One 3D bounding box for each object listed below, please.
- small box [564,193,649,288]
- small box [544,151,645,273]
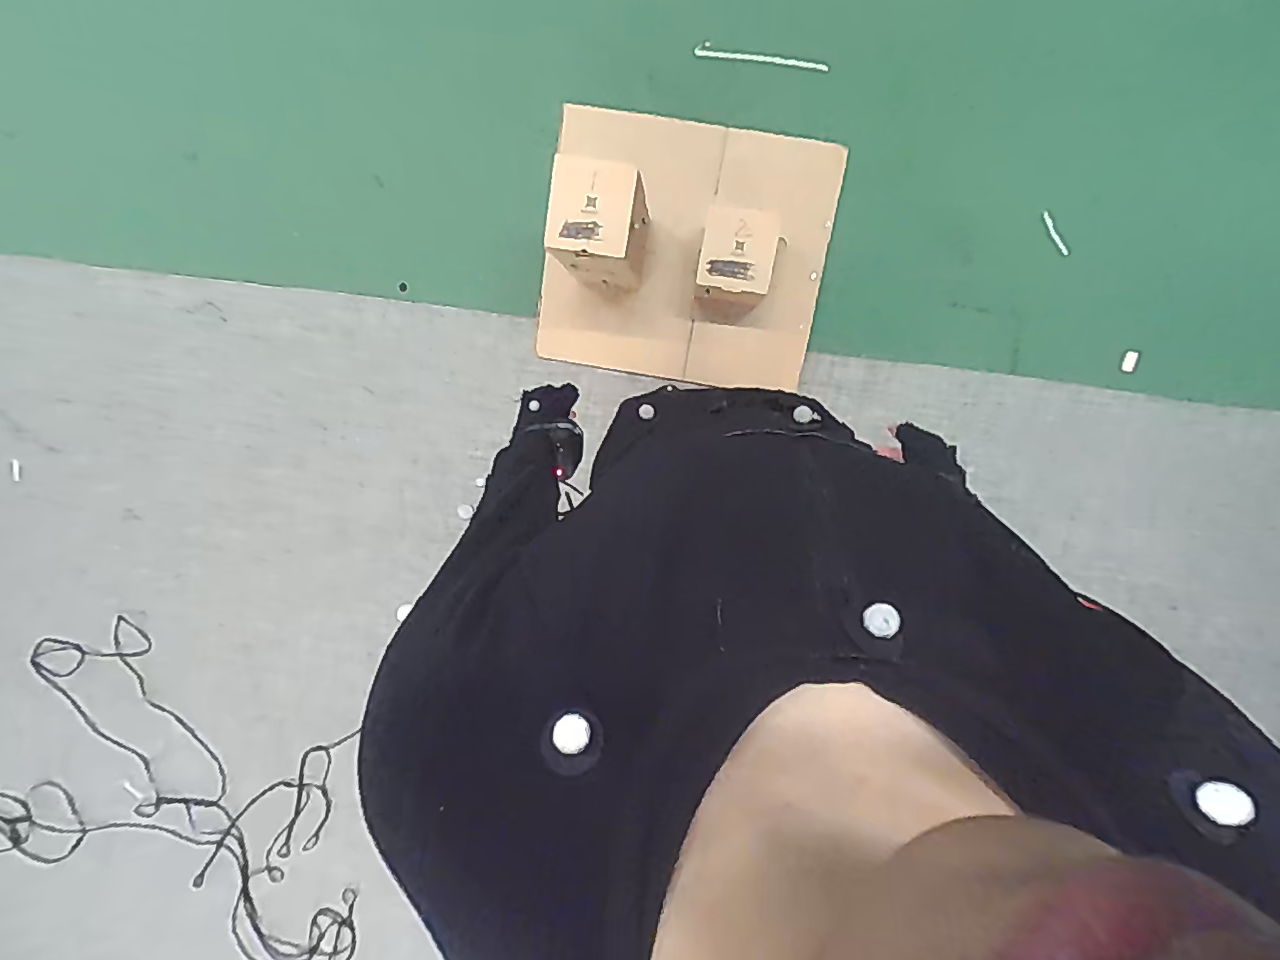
[{"bbox_3d":[-0.073,-0.569,1.278,0.168,0.176,0.179,9,101,4],"label":"small box"},{"bbox_3d":[-0.087,-0.541,1.117,0.168,0.176,0.179,11,100,3],"label":"small box"}]
